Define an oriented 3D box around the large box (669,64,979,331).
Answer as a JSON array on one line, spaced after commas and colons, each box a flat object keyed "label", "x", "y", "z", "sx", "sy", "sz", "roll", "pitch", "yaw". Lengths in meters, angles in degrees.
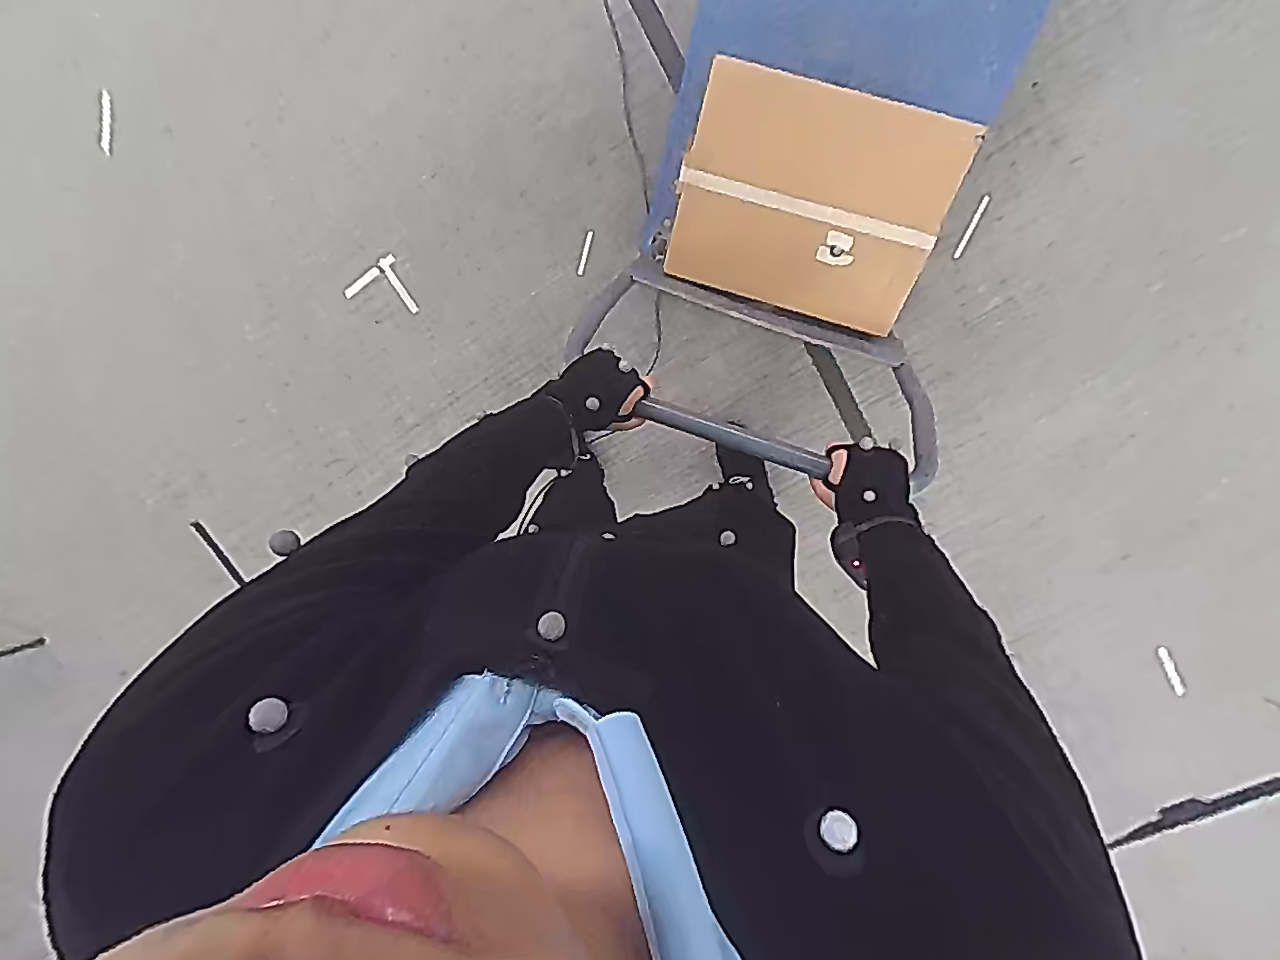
[{"label": "large box", "x": 0.297, "y": -0.511, "z": 0.995, "sx": 0.408, "sy": 0.320, "sz": 0.320, "roll": 17, "pitch": 123, "yaw": 3}]
